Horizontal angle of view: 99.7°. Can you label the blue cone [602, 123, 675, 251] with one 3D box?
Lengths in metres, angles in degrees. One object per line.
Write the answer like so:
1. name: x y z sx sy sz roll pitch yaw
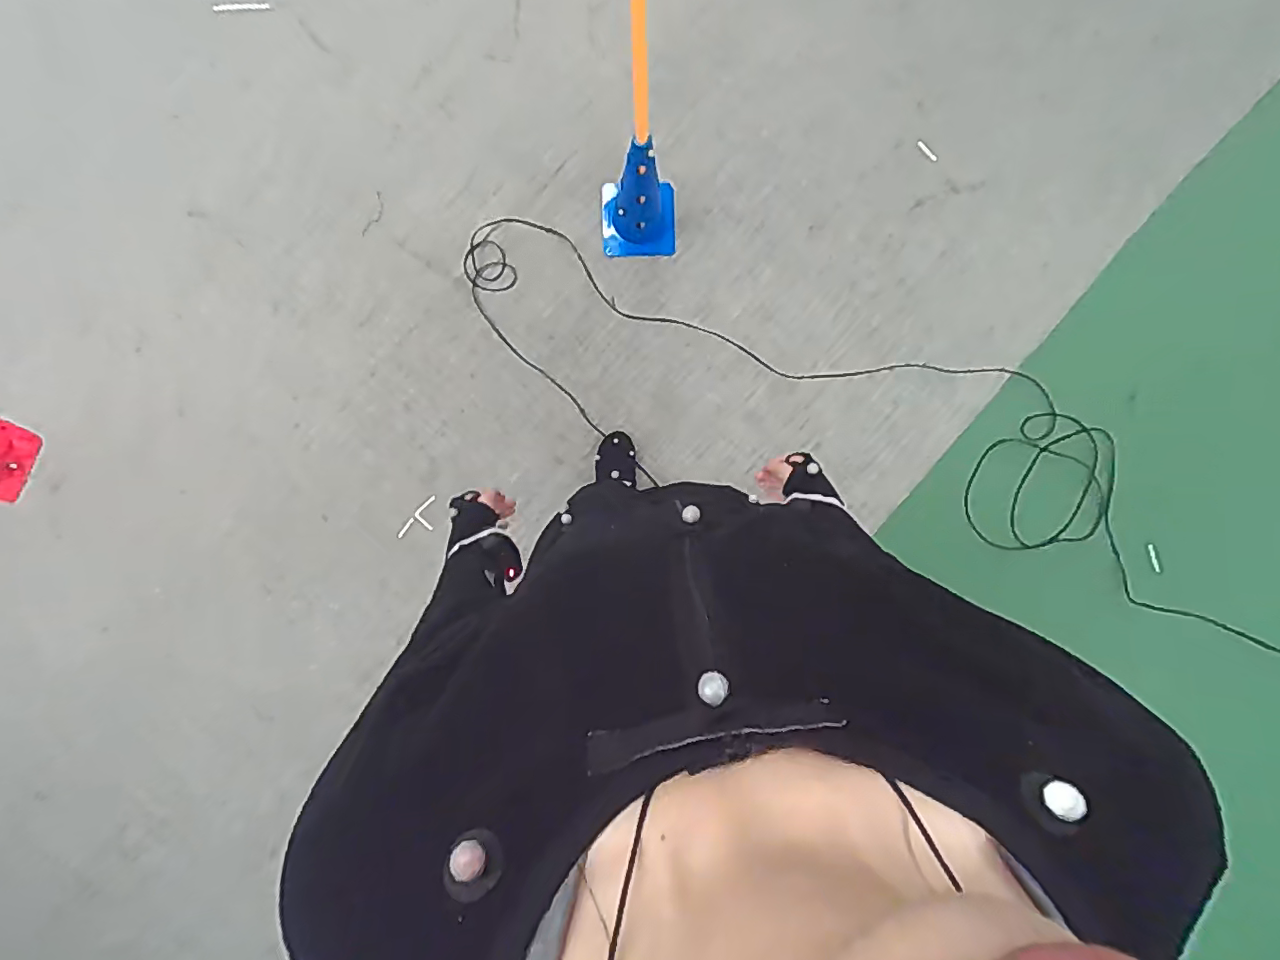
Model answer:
1. blue cone: -0.001 -0.713 1.293 0.192 0.380 0.193 -4 89 -2
